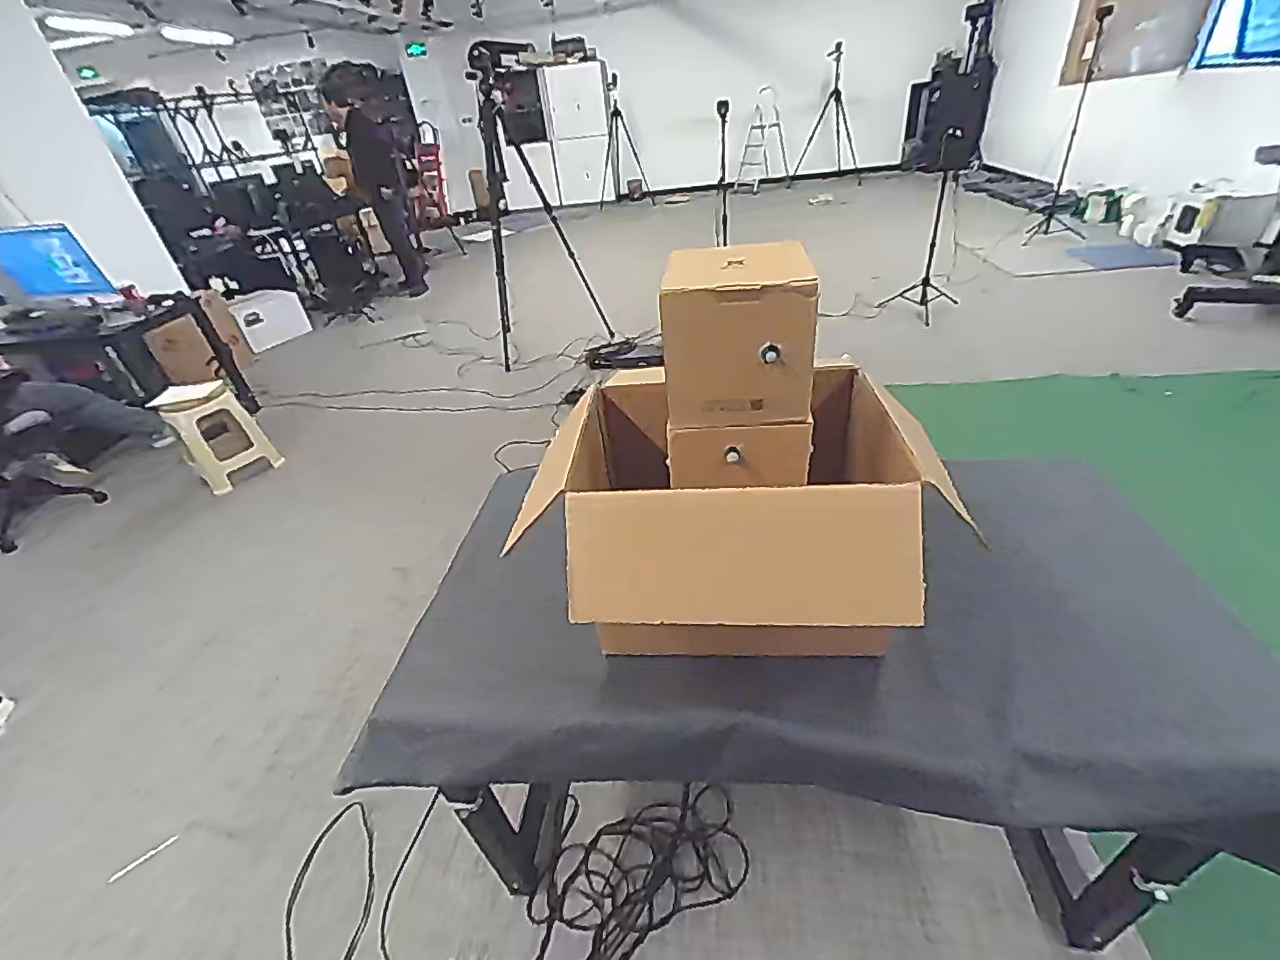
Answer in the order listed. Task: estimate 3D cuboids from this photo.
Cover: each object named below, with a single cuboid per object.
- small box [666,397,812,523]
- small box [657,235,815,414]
[{"bbox_3d":[0.131,-0.053,0.755,0.179,0.176,0.168,-2,35,7],"label":"small box"},{"bbox_3d":[0.115,-0.189,0.667,0.168,0.176,0.179,0,35,8],"label":"small box"}]
